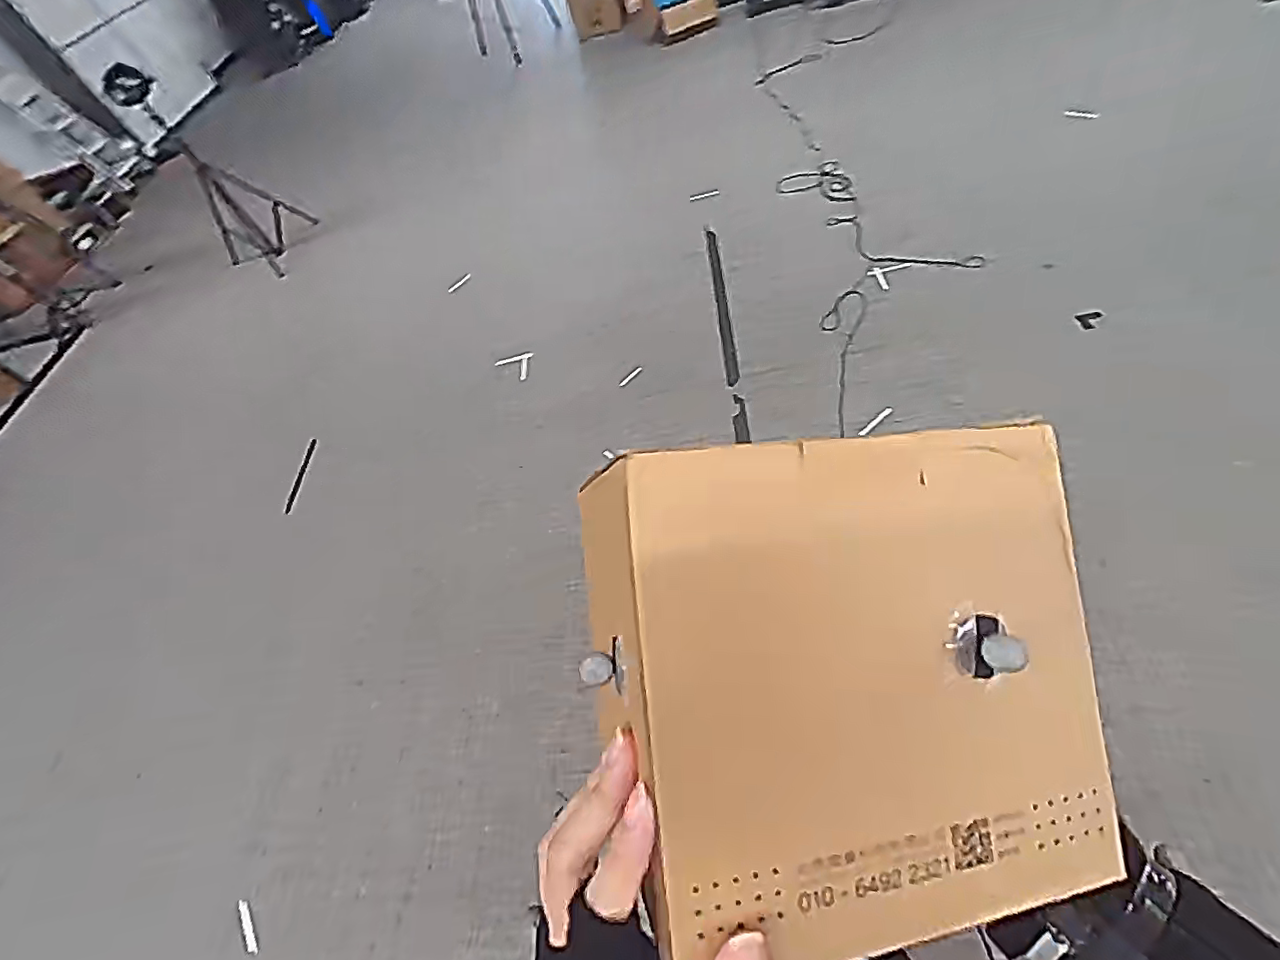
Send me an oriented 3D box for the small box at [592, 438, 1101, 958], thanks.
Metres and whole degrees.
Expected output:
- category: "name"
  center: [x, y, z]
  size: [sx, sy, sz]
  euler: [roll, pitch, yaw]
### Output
- category: "small box"
  center: [0.070, 0.081, 0.263]
  size: [0.168, 0.179, 0.176]
  euler: [-5, 86, -9]
